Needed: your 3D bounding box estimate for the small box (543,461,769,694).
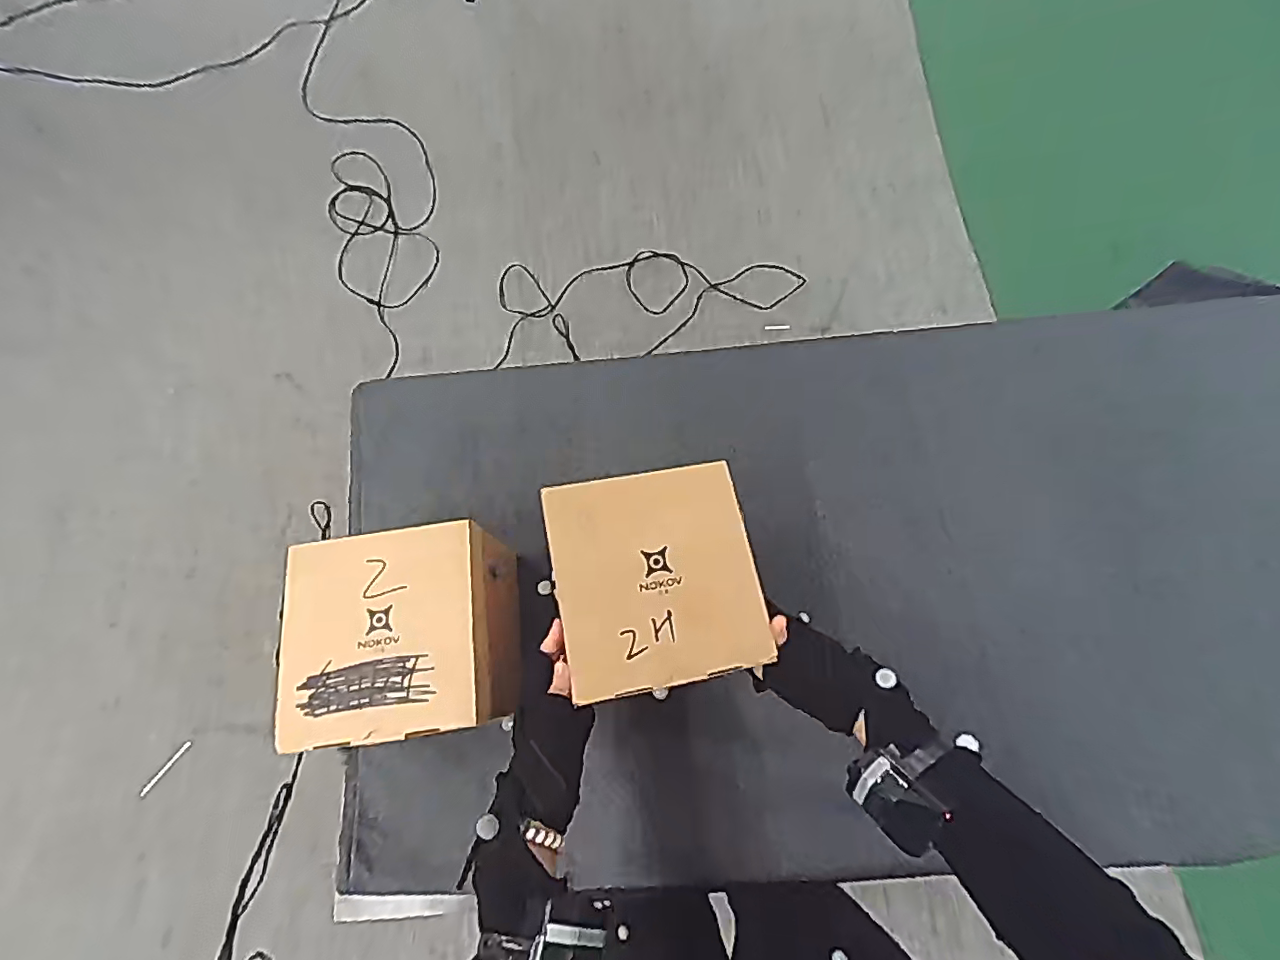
[{"bbox_3d":[0.001,0.101,0.523,0.168,0.176,0.179,-9,71,-9],"label":"small box"}]
